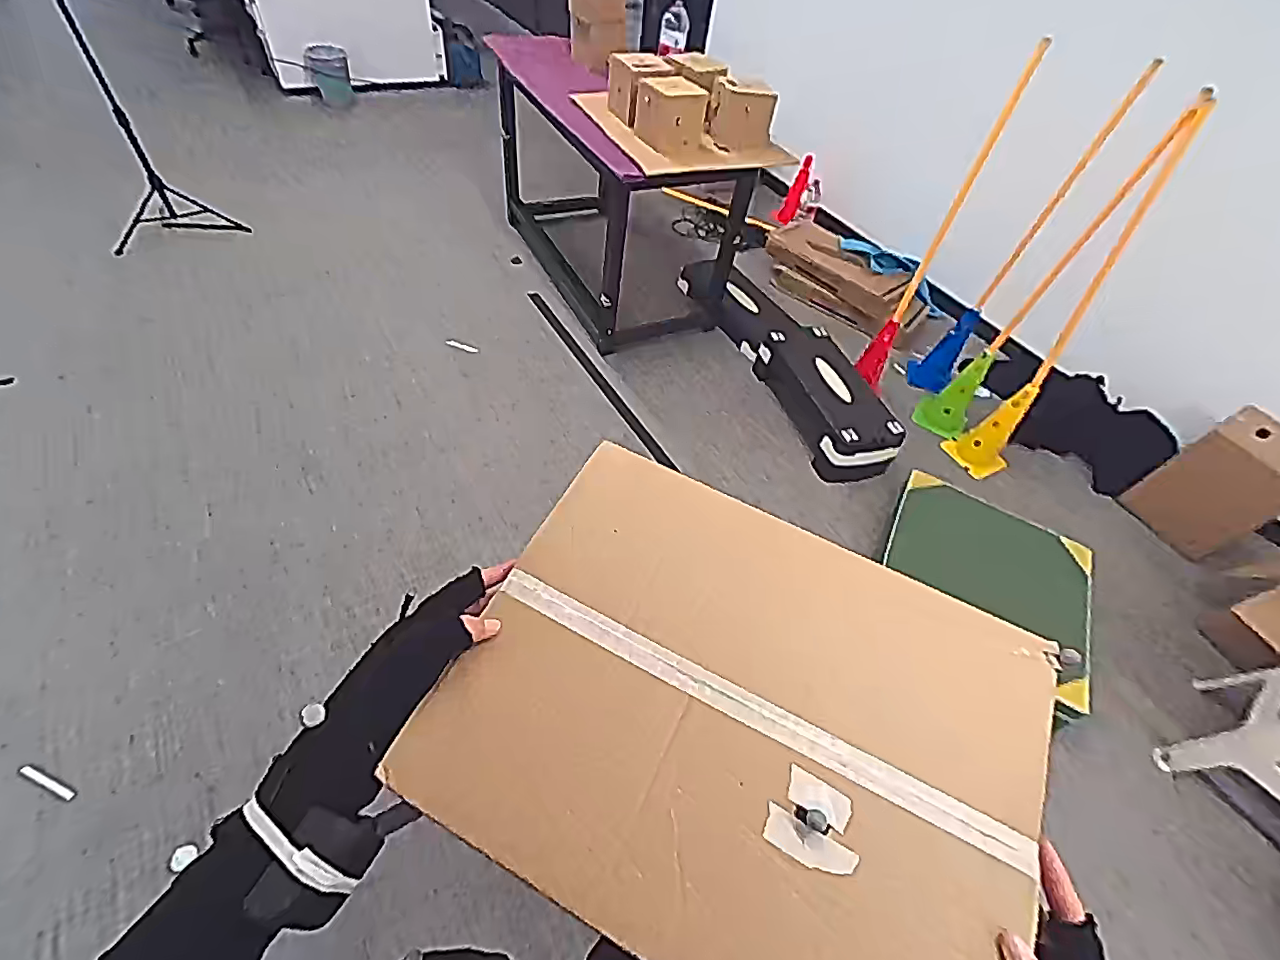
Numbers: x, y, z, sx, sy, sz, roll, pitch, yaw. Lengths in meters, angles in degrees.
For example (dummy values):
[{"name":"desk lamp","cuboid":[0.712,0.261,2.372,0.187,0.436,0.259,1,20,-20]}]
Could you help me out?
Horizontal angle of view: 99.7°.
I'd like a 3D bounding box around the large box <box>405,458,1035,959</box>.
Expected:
[{"name":"large box","cuboid":[0.070,0.246,0.532,0.408,0.320,0.320,25,61,12]}]
